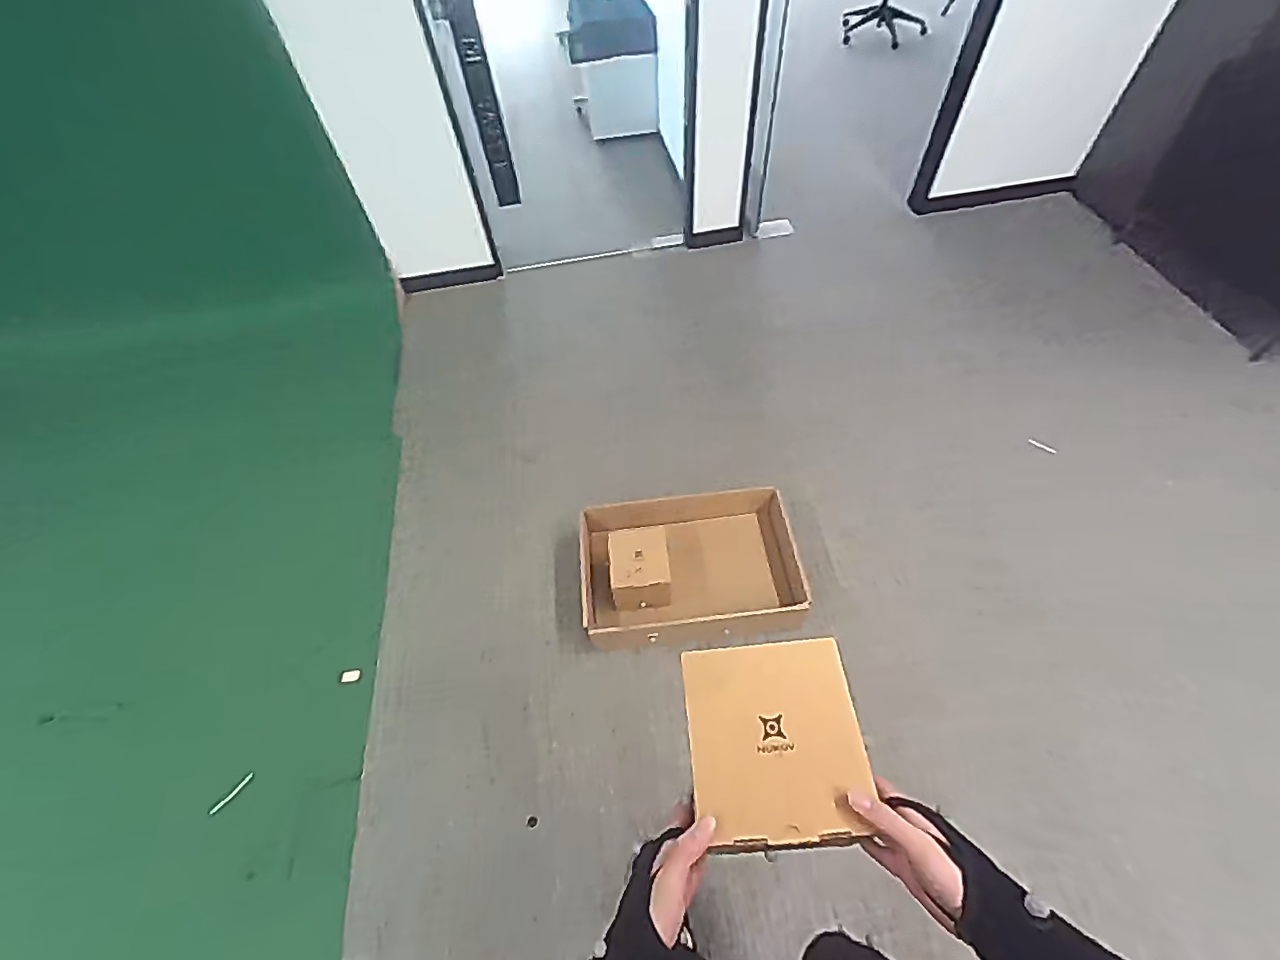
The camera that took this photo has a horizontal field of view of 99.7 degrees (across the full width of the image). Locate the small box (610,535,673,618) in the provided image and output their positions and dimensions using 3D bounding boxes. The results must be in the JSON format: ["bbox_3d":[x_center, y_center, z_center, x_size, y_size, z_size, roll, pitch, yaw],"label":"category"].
[{"bbox_3d":[0.004,0.283,1.572,0.168,0.176,0.179,-6,53,0],"label":"small box"}]
